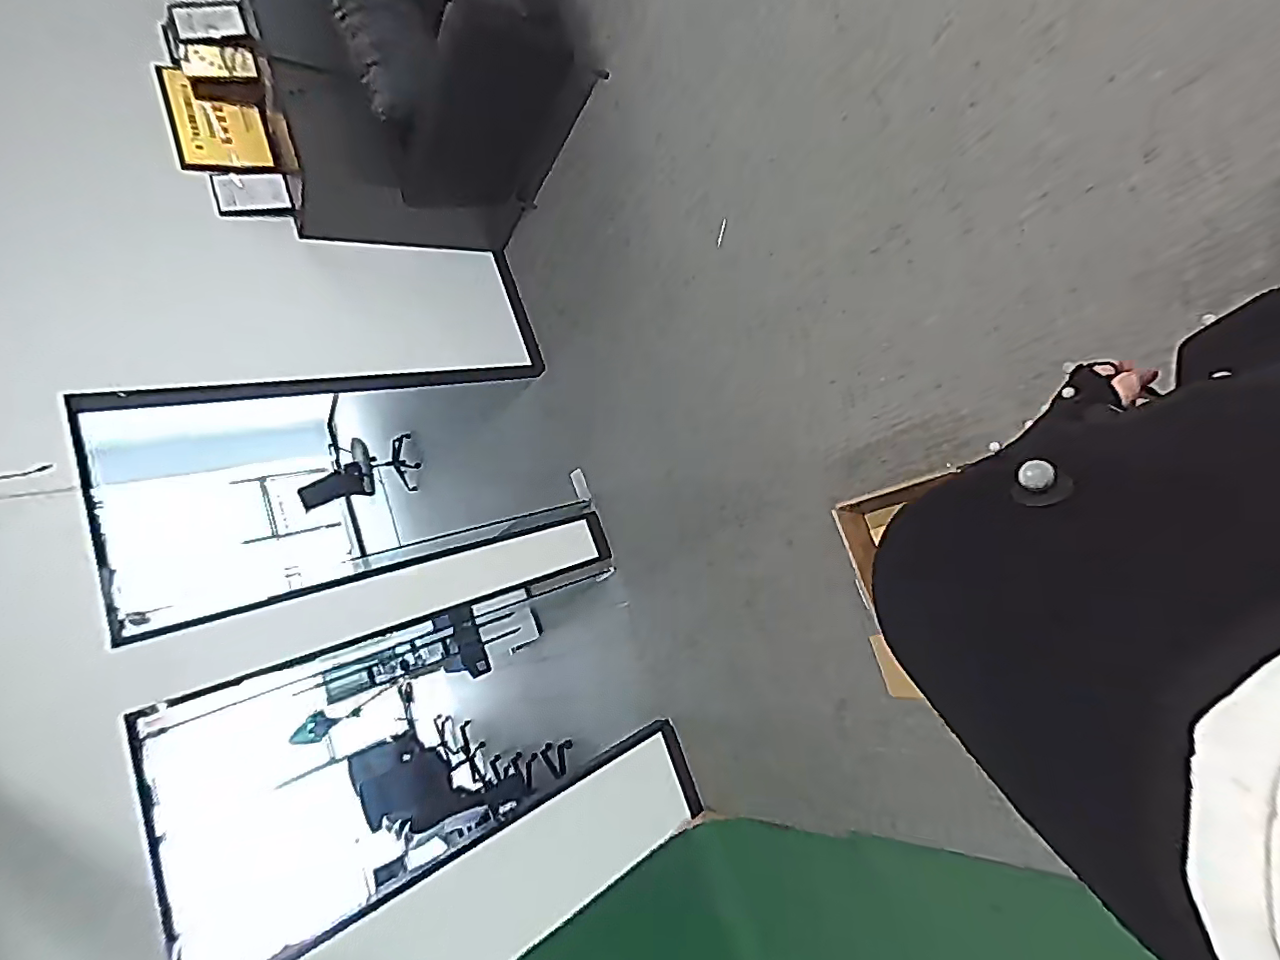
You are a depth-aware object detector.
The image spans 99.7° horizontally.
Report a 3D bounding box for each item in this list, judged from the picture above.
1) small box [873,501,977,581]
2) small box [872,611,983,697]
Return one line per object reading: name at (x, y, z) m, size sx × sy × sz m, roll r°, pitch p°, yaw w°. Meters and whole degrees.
small box at (0.808, 0.172, 1.532) m, size 0.179 × 0.176 × 0.168 m, roll -32°, pitch 75°, yaw 49°
small box at (0.751, 0.450, 1.411) m, size 0.179 × 0.176 × 0.168 m, roll -26°, pitch 79°, yaw 51°
